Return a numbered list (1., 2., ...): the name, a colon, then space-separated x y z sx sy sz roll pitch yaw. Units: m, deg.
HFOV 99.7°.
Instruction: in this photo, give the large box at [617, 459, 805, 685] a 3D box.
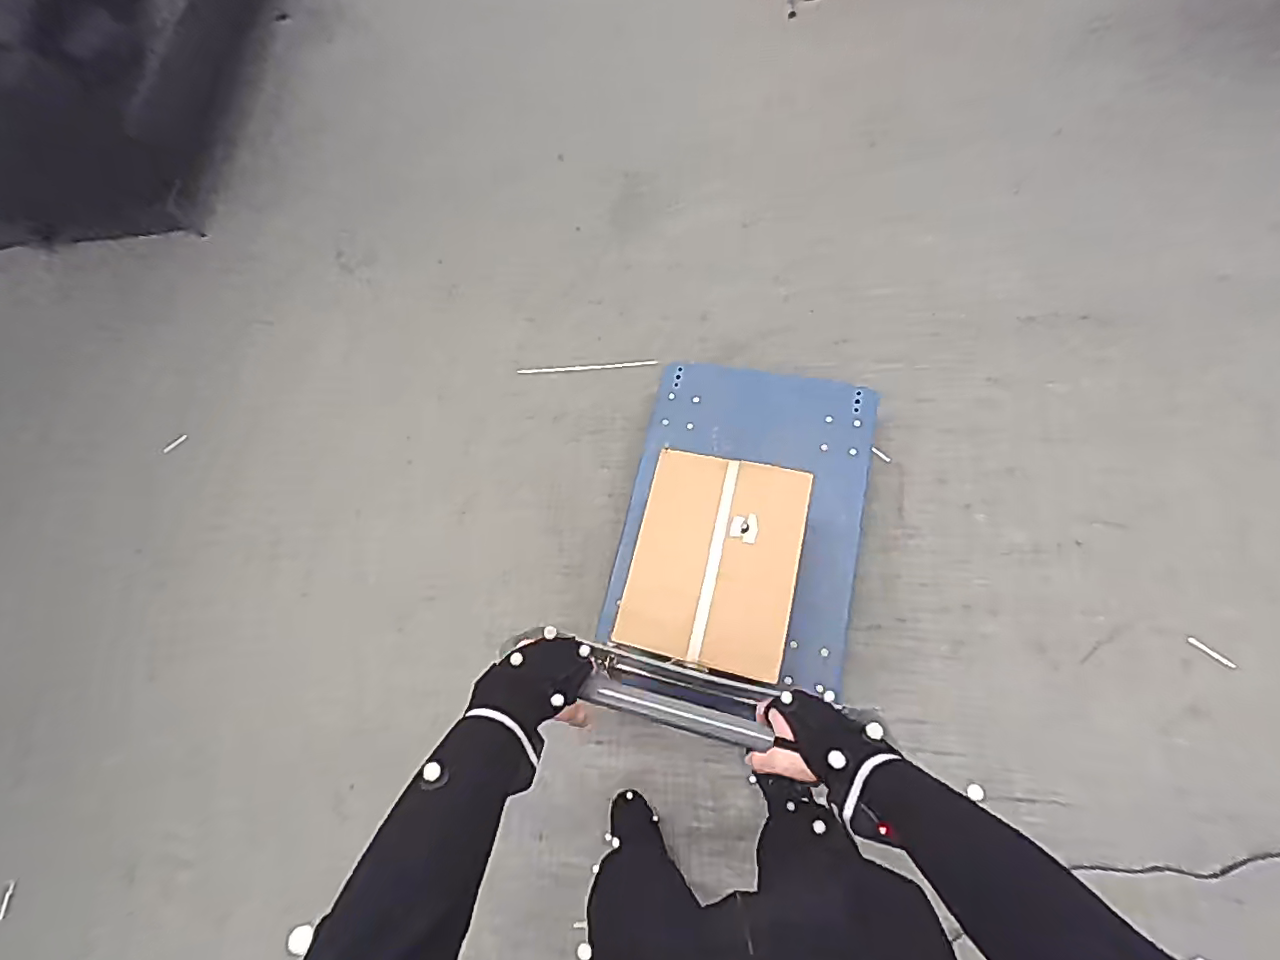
1. large box: 0.170 0.213 1.199 0.320 0.320 0.408 10 72 14
